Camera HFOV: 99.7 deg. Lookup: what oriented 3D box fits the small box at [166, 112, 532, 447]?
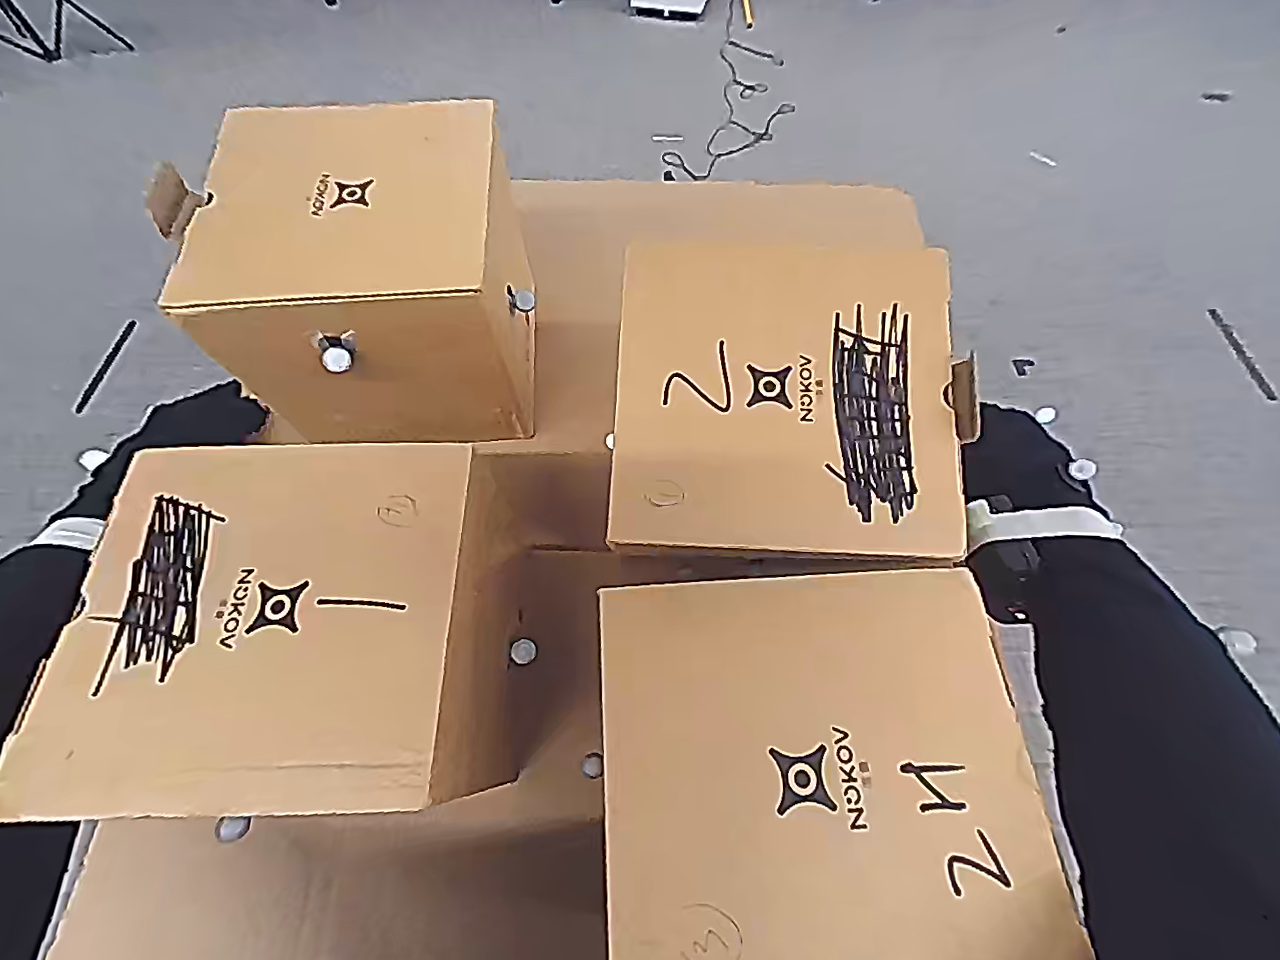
[{"bbox_3d":[-0.180,-0.136,0.404,0.179,0.176,0.168,-4,65,-1],"label":"small box"}]
